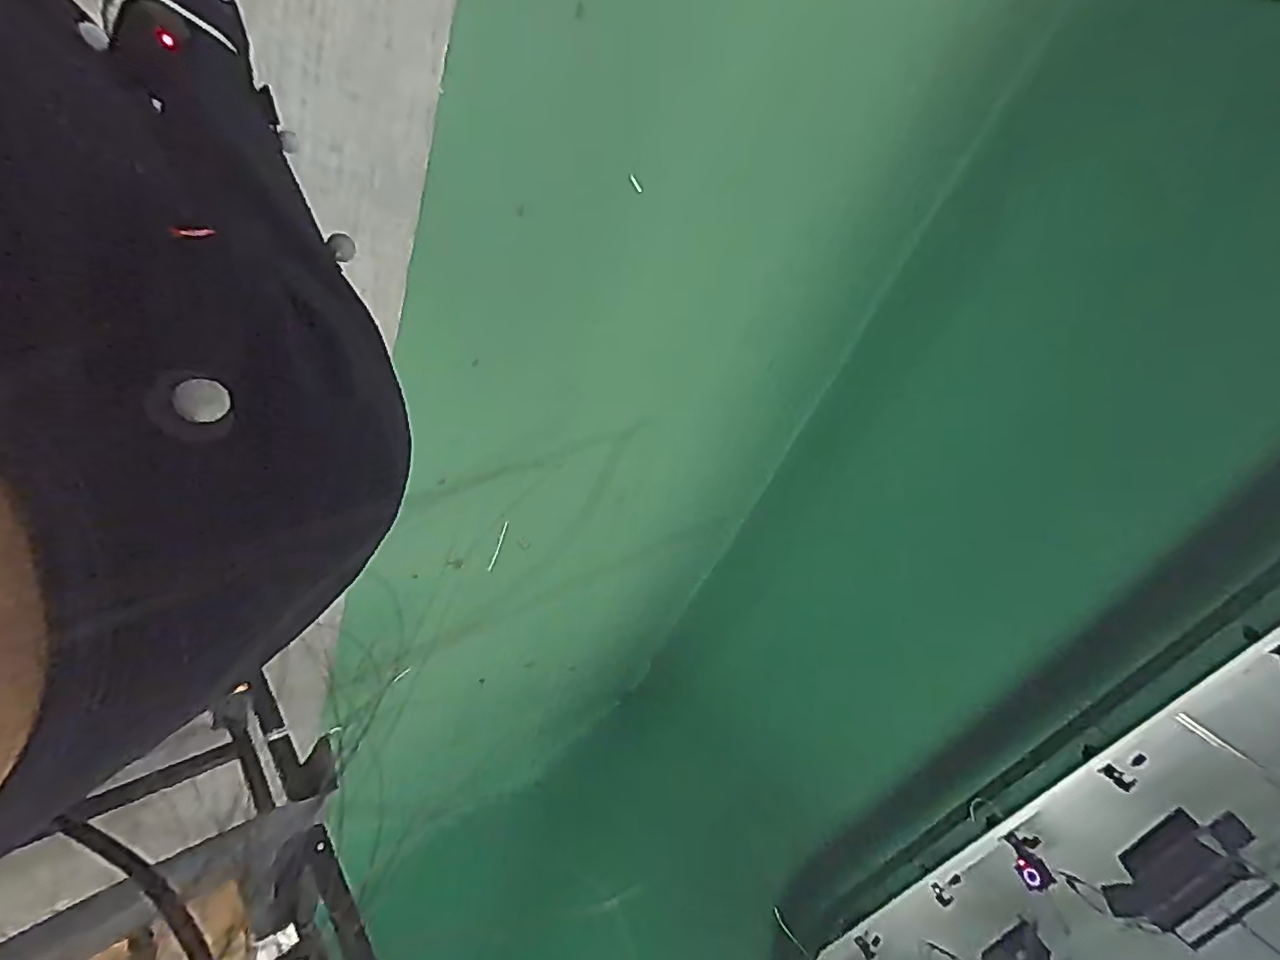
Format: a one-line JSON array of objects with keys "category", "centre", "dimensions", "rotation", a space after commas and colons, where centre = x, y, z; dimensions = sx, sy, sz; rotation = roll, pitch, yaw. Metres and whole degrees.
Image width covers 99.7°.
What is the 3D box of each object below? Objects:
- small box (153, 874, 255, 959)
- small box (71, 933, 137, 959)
[{"category": "small box", "centre": [-1.073, 1.127, 1.334], "dimensions": [0.168, 0.176, 0.179], "rotation": [-13, 137, -46]}, {"category": "small box", "centre": [-1.214, 1.159, 1.191], "dimensions": [0.168, 0.176, 0.179], "rotation": [-14, 138, -46]}]
